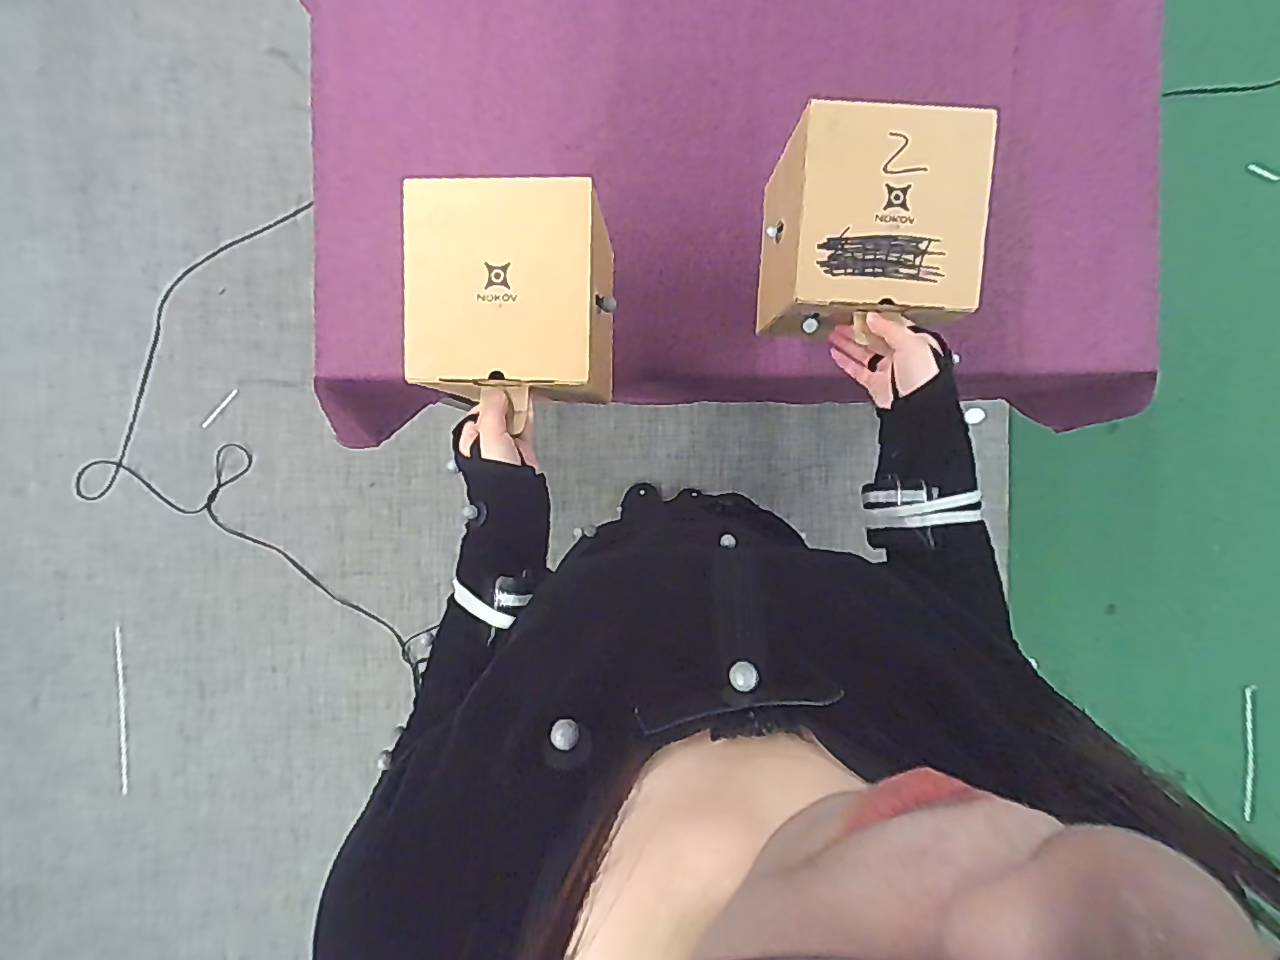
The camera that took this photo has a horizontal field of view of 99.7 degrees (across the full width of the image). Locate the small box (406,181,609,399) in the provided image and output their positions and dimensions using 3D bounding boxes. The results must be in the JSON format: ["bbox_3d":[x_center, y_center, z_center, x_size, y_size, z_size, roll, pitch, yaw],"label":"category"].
[{"bbox_3d":[-0.124,-0.181,0.561,0.168,0.176,0.179,1,94,3],"label":"small box"}]
